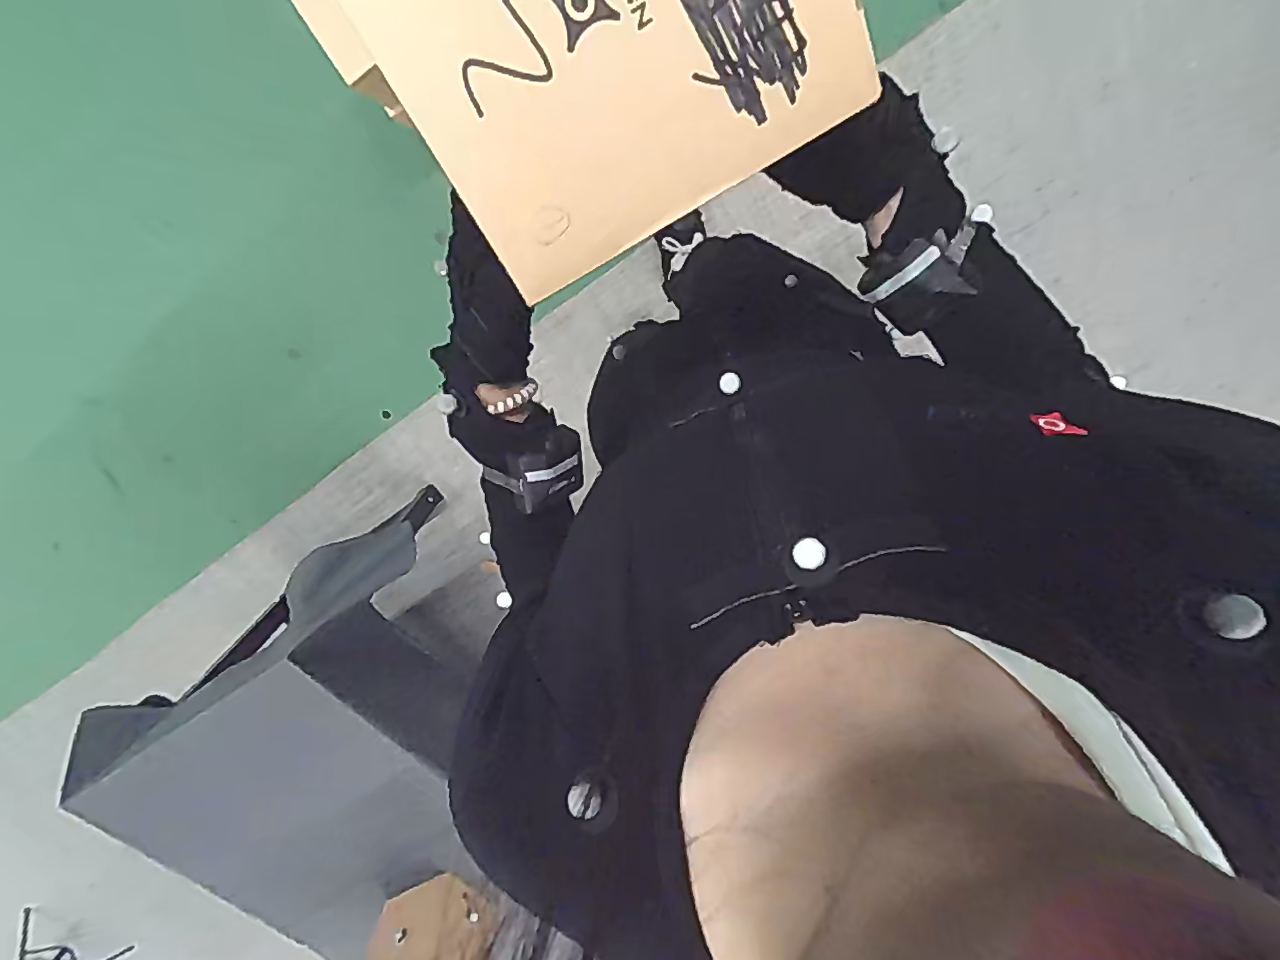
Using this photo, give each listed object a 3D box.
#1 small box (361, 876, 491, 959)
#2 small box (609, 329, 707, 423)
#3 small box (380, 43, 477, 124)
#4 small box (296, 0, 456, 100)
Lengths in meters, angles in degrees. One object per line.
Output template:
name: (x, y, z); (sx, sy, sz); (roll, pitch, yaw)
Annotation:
small box: (-0.420, 0.926, 1.054); (0.179, 0.176, 0.168); (-32, 111, 11)
small box: (0.041, -0.265, 1.359); (0.179, 0.176, 0.168); (32, 116, 10)
small box: (-0.455, -0.849, 1.083); (0.168, 0.176, 0.179); (-27, 111, 10)
small box: (-0.449, -0.796, 0.926); (0.179, 0.176, 0.168); (-28, 111, 11)
